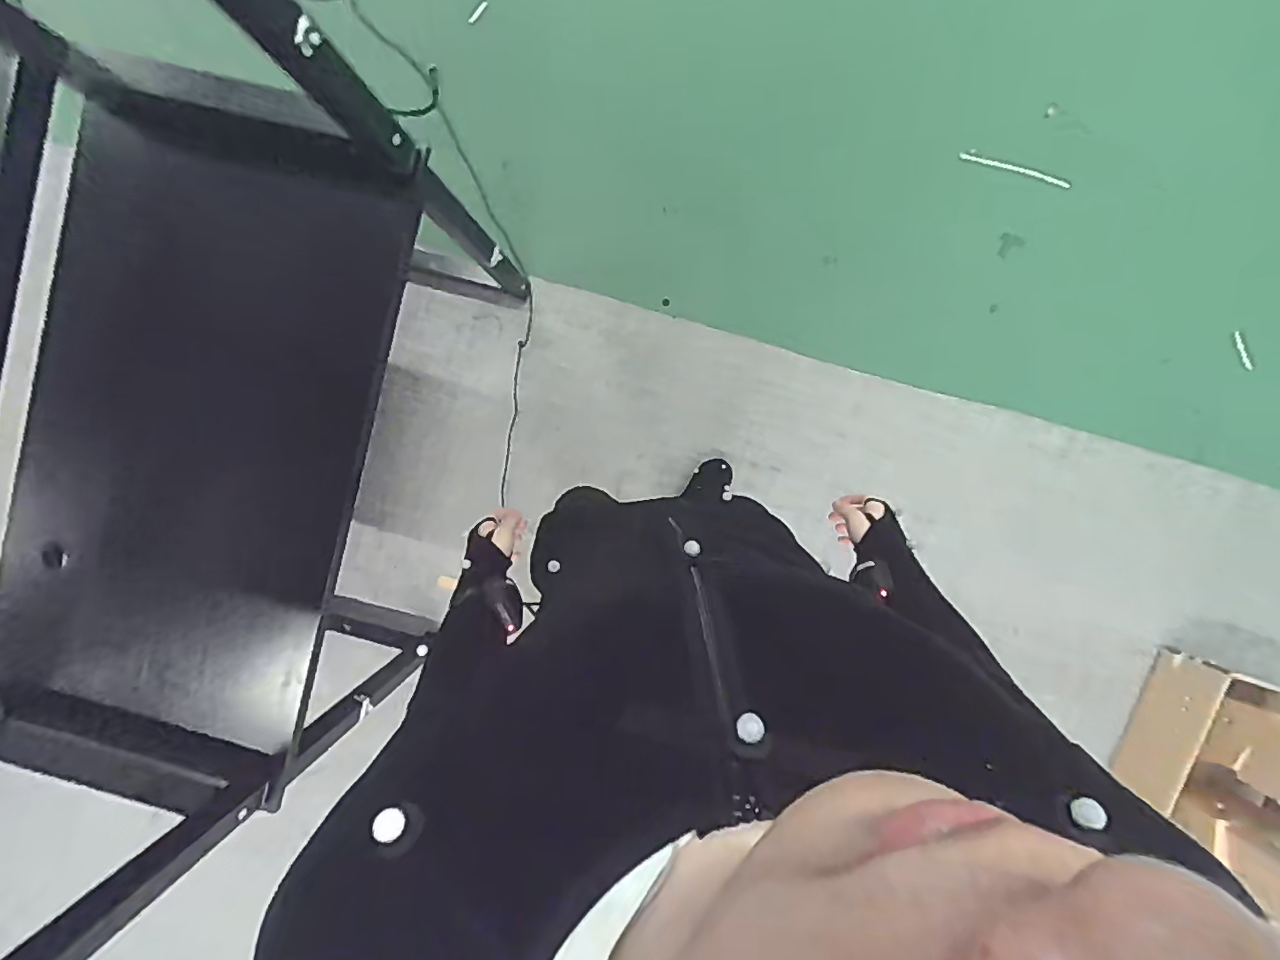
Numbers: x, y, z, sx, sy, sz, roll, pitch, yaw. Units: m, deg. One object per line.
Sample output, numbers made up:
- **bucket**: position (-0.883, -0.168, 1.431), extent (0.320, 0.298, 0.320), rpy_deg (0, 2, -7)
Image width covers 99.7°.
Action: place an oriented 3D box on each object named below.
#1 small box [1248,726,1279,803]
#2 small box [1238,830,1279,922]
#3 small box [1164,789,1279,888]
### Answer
- **small box**: position (1.635, 0.725, 1.285), extent (0.168, 0.176, 0.179), rpy_deg (22, 95, 1)
- **small box**: position (1.607, 0.977, 1.301), extent (0.179, 0.176, 0.168), rpy_deg (-9, 92, 3)
- **small box**: position (1.584, 0.967, 1.465), extent (0.179, 0.176, 0.168), rpy_deg (1, 93, 3)
